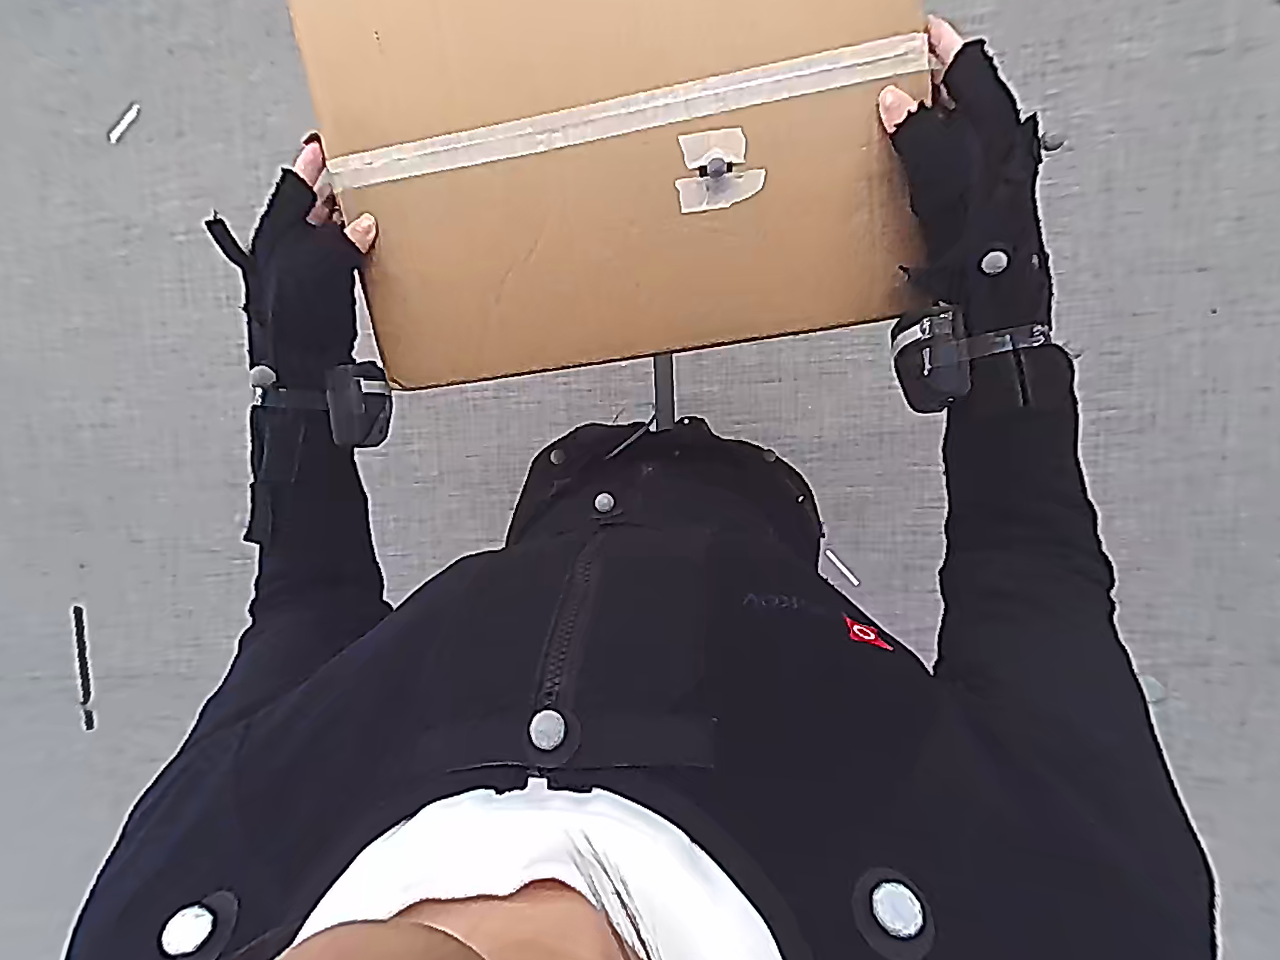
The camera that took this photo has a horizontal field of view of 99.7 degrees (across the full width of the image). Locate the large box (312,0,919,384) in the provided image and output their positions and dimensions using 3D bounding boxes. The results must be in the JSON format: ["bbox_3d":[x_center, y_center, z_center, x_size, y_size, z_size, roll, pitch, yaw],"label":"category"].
[{"bbox_3d":[-0.006,-0.286,0.524,0.408,0.320,0.320,-7,104,7],"label":"large box"}]
